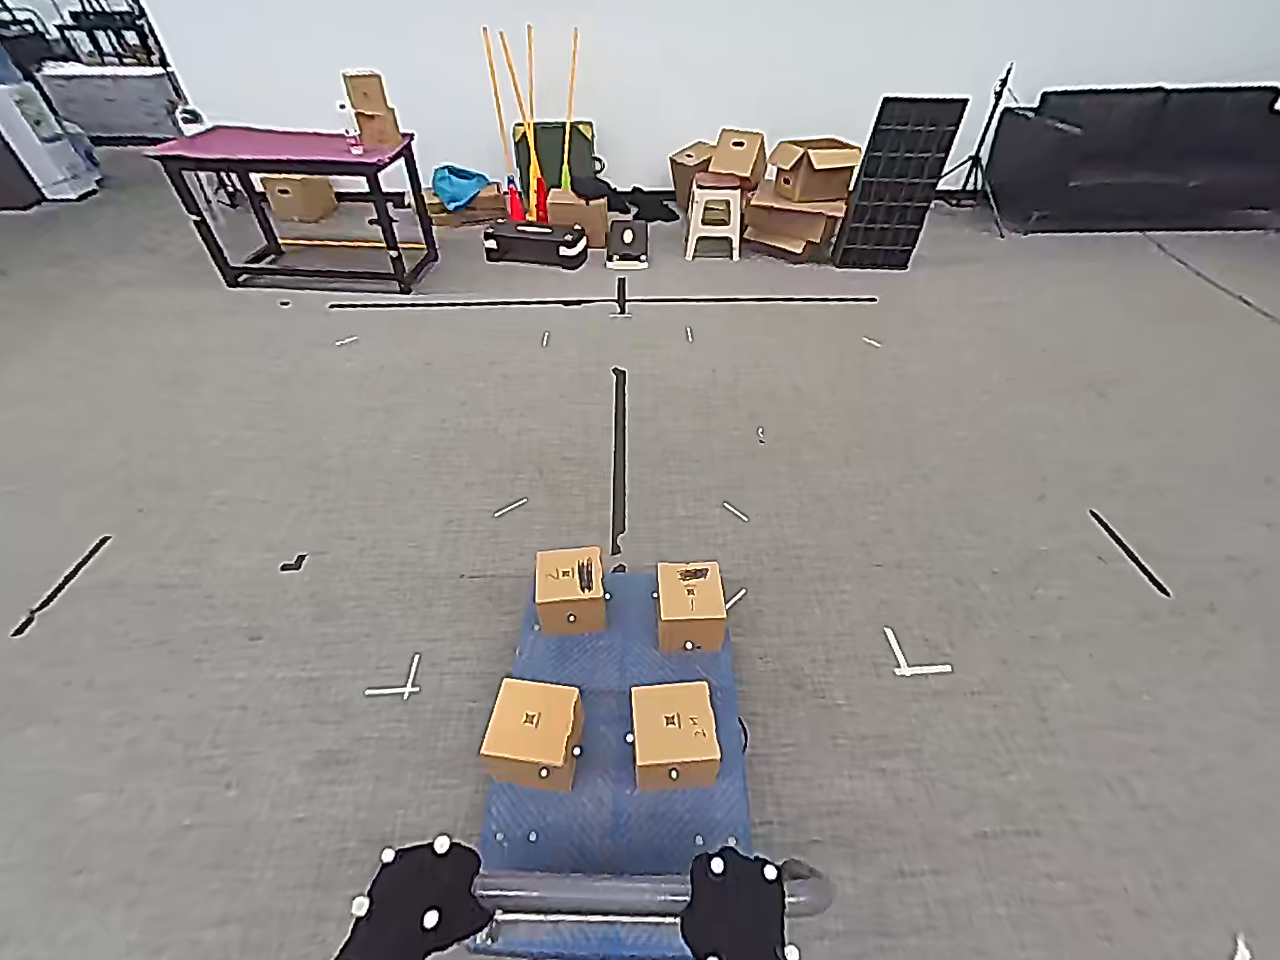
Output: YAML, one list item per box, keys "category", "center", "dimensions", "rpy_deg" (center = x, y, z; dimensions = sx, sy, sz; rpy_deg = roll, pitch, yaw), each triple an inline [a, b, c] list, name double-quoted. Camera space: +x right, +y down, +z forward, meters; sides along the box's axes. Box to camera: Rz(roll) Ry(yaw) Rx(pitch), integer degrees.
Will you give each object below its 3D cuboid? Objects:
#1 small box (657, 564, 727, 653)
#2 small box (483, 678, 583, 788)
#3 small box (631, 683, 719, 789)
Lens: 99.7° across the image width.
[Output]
- category: "small box"
  center: [0.133, 0.346, 1.458]
  dimensions: [0.168, 0.176, 0.179]
  rpy_deg: [-1, 45, -1]
- category: "small box"
  center: [-0.231, 0.573, 1.220]
  dimensions: [0.179, 0.176, 0.168]
  rpy_deg: [6, 44, 4]
- category: "small box"
  center: [0.073, 0.578, 1.217]
  dimensions: [0.179, 0.176, 0.168]
  rpy_deg: [-3, 44, -3]
